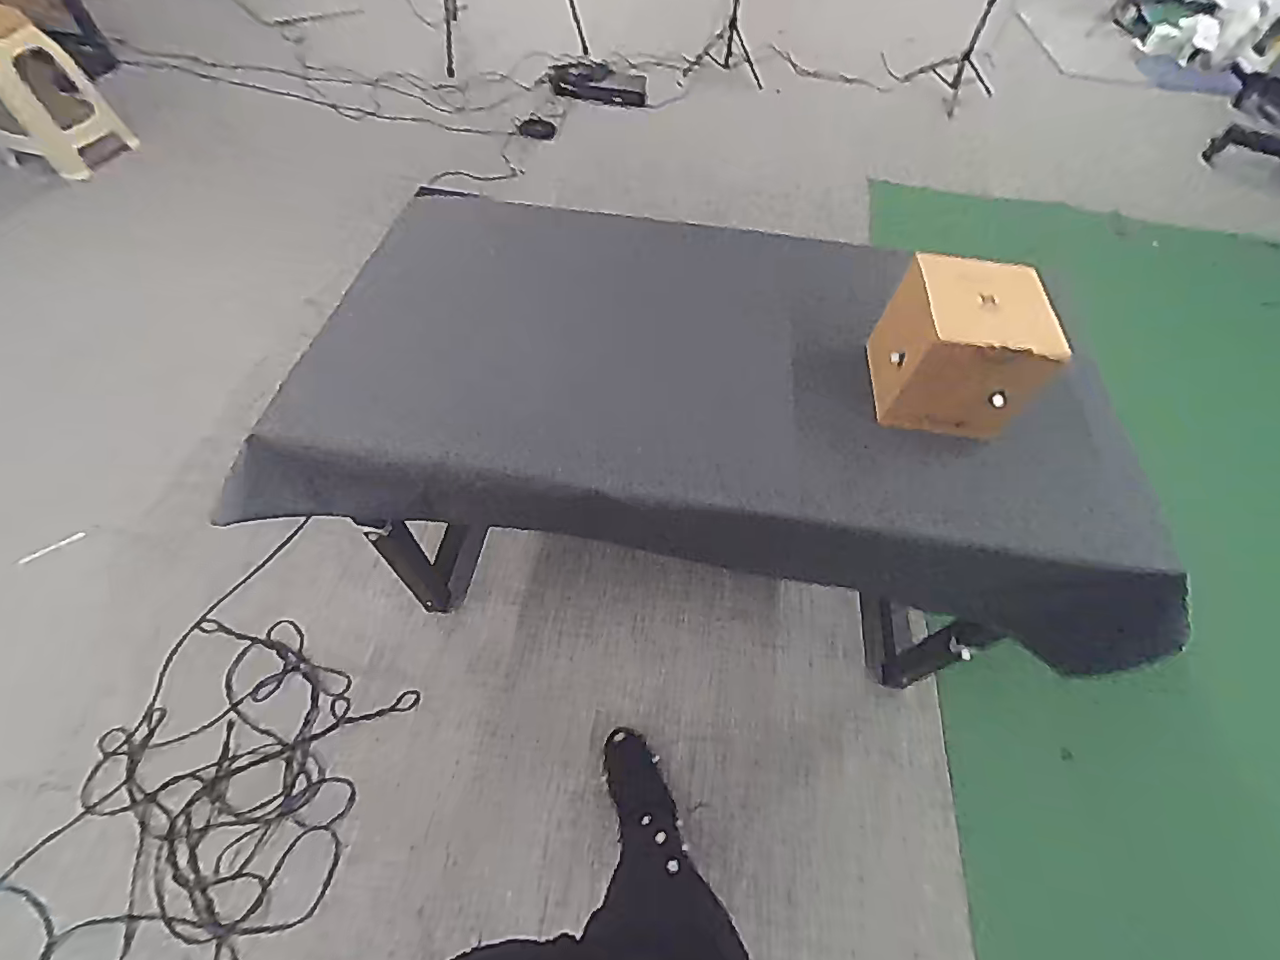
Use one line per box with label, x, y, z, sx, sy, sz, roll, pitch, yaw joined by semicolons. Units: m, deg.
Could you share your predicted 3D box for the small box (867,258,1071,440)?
small box;0.437;-0.177;0.754;0.168;0.176;0.179;8;55;0
